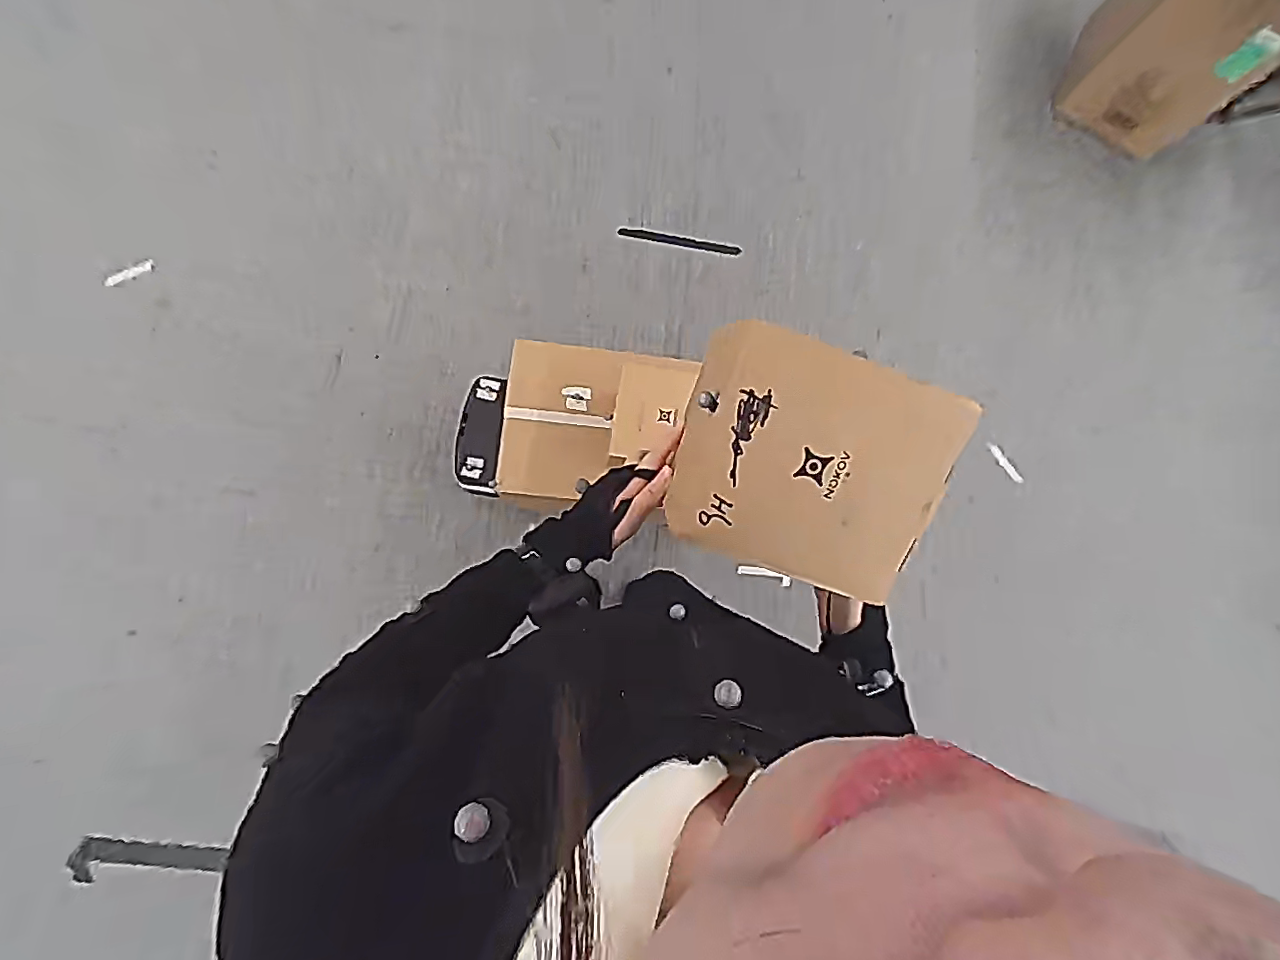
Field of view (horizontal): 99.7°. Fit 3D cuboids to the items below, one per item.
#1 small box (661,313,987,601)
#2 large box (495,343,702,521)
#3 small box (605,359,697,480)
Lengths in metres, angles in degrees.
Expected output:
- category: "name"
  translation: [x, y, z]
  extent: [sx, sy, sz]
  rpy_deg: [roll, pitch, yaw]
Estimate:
- category: "small box"
  translation: [0.129, -0.028, 0.456]
  extent: [0.179, 0.176, 0.168]
  rpy_deg: [19, 101, -7]
- category: "large box"
  translation: [-0.081, -0.083, 1.207]
  extent: [0.408, 0.320, 0.320]
  rpy_deg: [6, 79, -5]
- category: "small box"
  translation: [0.038, -0.097, 0.974]
  extent: [0.179, 0.176, 0.168]
  rpy_deg: [10, 80, -5]
